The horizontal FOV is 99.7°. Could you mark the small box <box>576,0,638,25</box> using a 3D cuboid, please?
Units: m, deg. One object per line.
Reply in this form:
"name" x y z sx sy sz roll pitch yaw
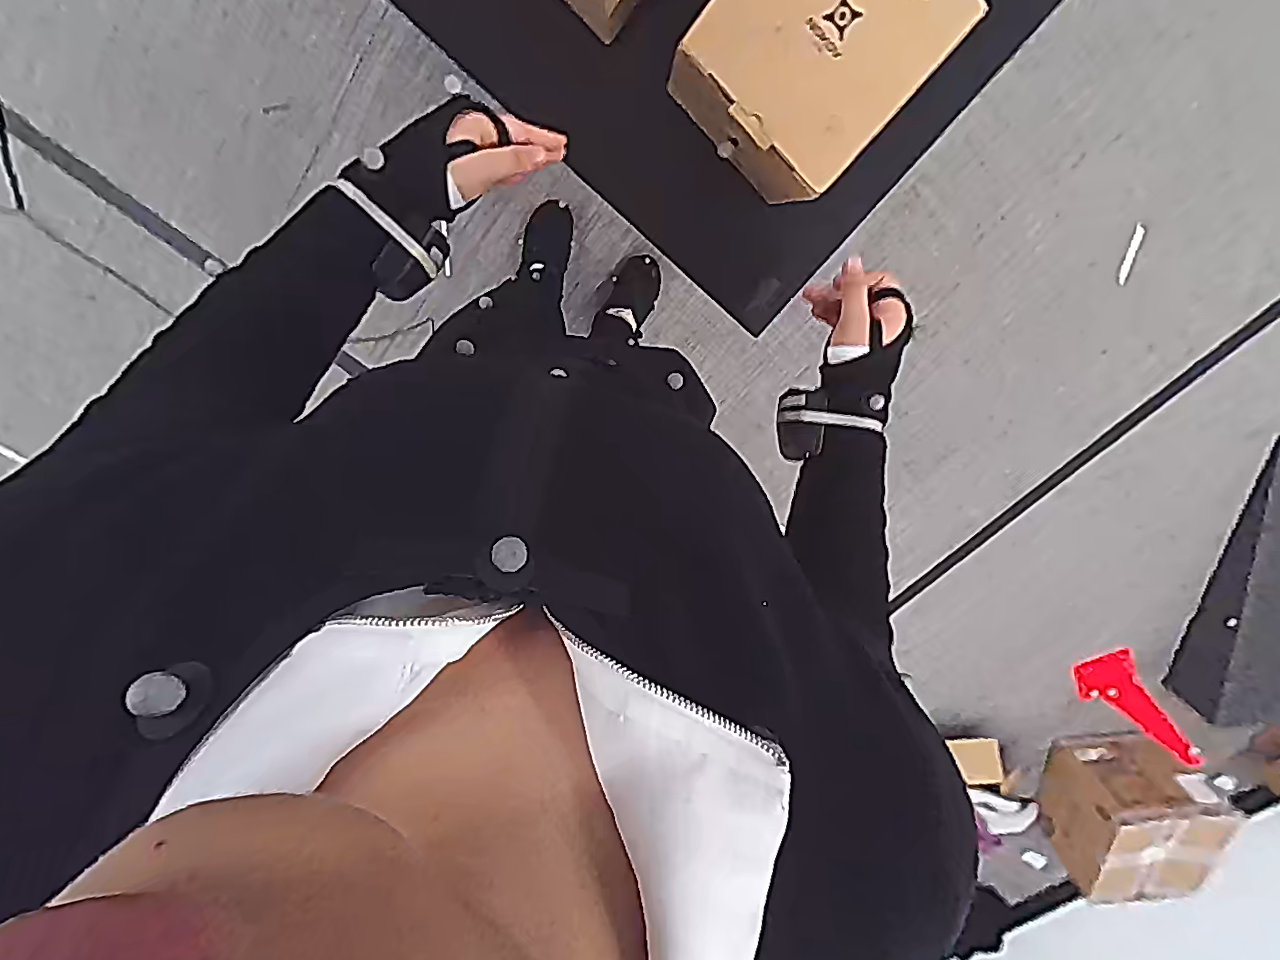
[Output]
"small box" -0.039 -0.511 0.417 0.179 0.176 0.168 38 110 -18
